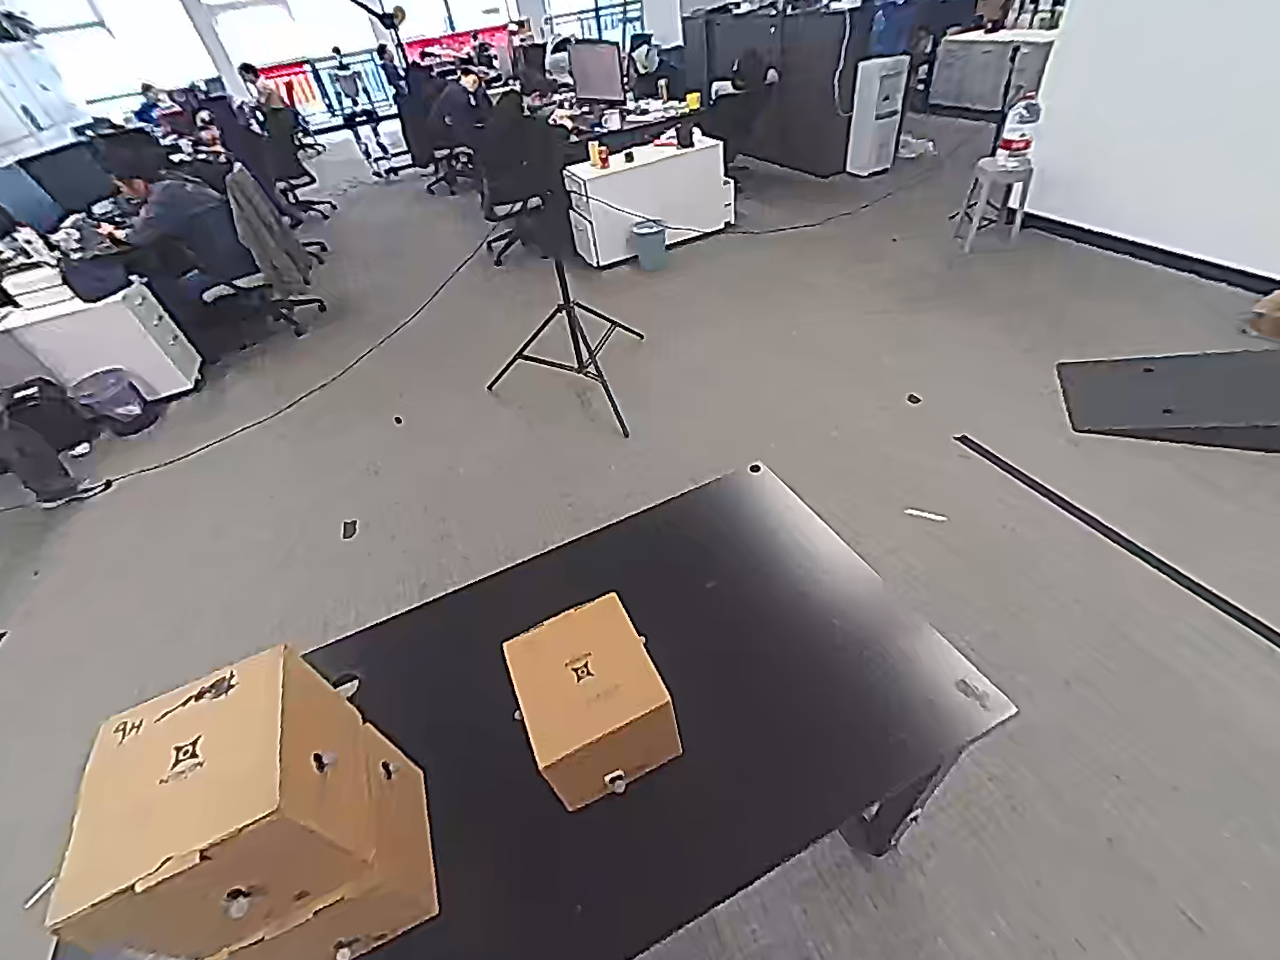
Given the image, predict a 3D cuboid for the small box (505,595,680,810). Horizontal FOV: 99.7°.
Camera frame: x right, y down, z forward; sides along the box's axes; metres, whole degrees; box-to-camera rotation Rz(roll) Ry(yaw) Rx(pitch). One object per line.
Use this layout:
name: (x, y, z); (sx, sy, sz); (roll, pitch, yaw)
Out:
small box: (-0.060, 0.295, 0.721); (0.168, 0.176, 0.179); (-24, 45, -13)

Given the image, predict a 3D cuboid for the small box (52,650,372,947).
small box: (-0.380, 0.307, 0.521); (0.168, 0.176, 0.179); (-23, 45, -15)

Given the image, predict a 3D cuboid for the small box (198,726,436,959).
small box: (-0.353, 0.431, 0.626); (0.168, 0.176, 0.179); (-21, 44, -12)
